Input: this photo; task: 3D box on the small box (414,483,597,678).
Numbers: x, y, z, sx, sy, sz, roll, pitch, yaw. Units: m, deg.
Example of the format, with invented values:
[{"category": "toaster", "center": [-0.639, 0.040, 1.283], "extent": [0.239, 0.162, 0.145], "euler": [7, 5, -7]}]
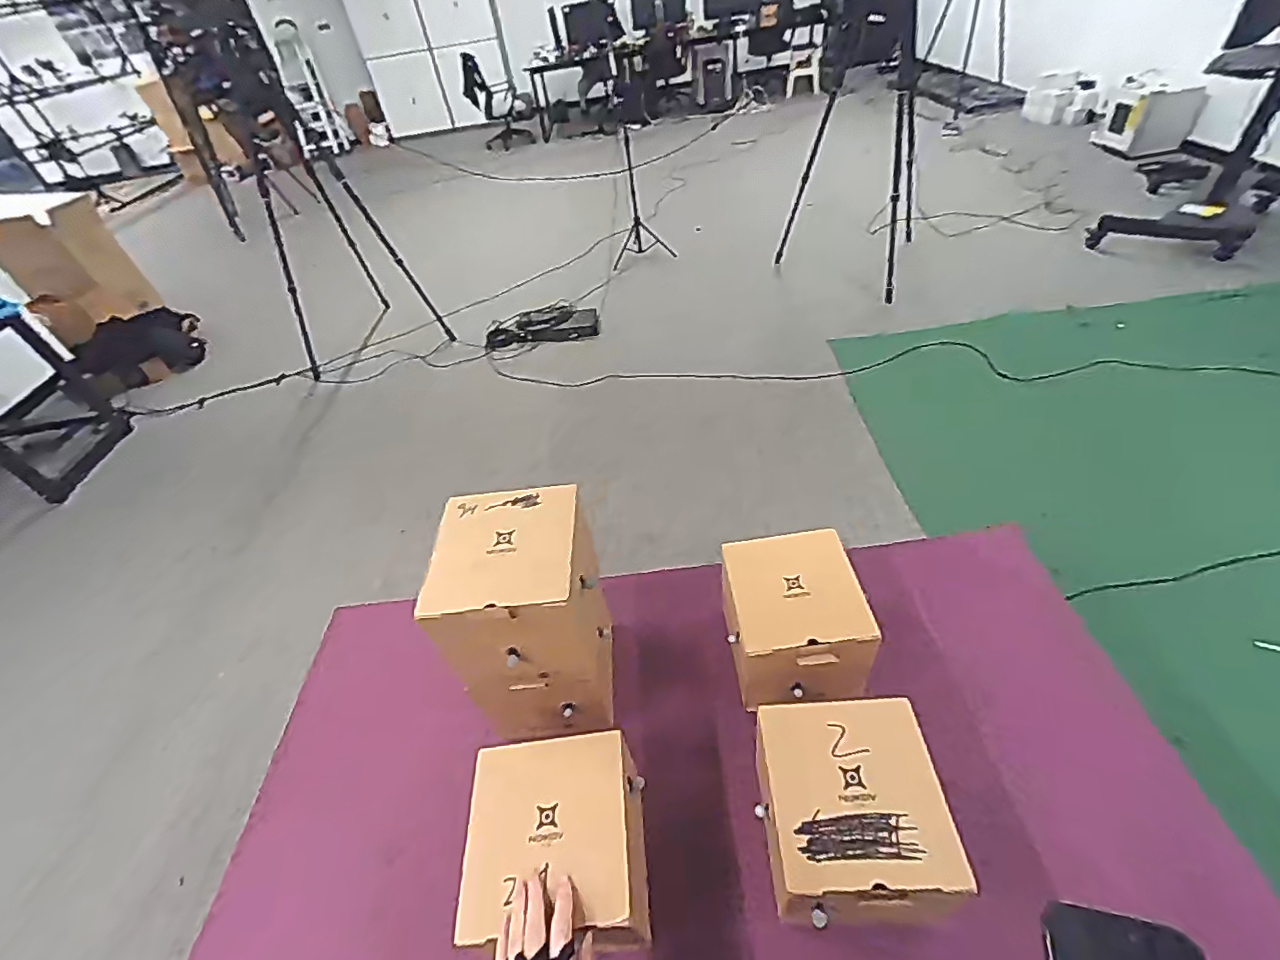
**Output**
[{"category": "small box", "center": [-0.148, 0.130, 0.668], "extent": [0.168, 0.176, 0.179], "euler": [-6, 45, 3]}]

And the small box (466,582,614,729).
[{"category": "small box", "center": [-0.132, 0.246, 0.785], "extent": [0.168, 0.176, 0.179], "euler": [-7, 44, 3]}]

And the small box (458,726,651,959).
[{"category": "small box", "center": [-0.083, 0.408, 0.609], "extent": [0.168, 0.176, 0.179], "euler": [-9, 44, 2]}]
